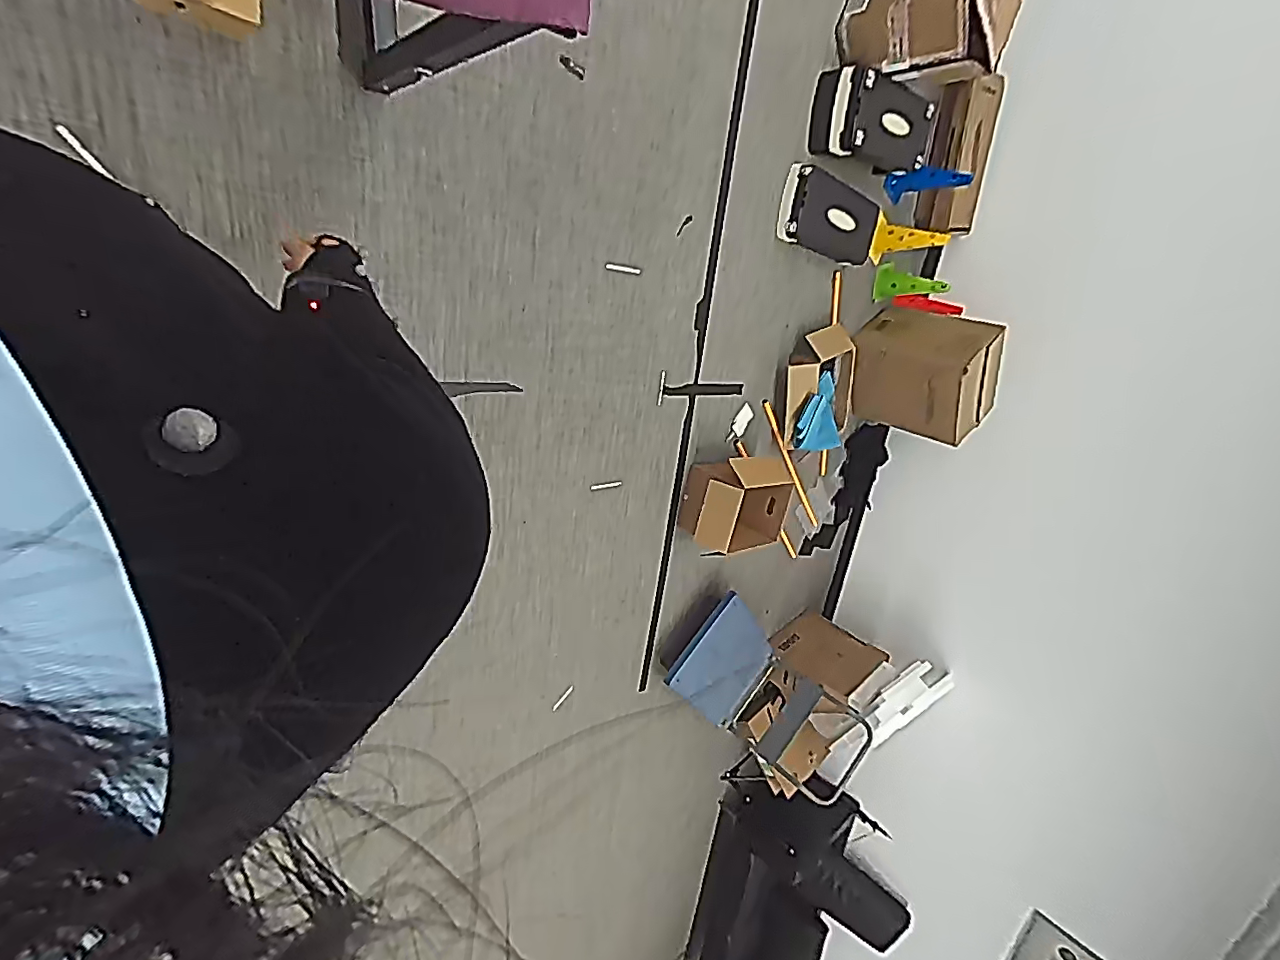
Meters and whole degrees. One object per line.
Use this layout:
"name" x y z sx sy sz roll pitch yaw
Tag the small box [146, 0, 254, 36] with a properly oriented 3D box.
"small box" -0.770 -0.904 0.920 0.168 0.176 0.179 -7 114 -43
